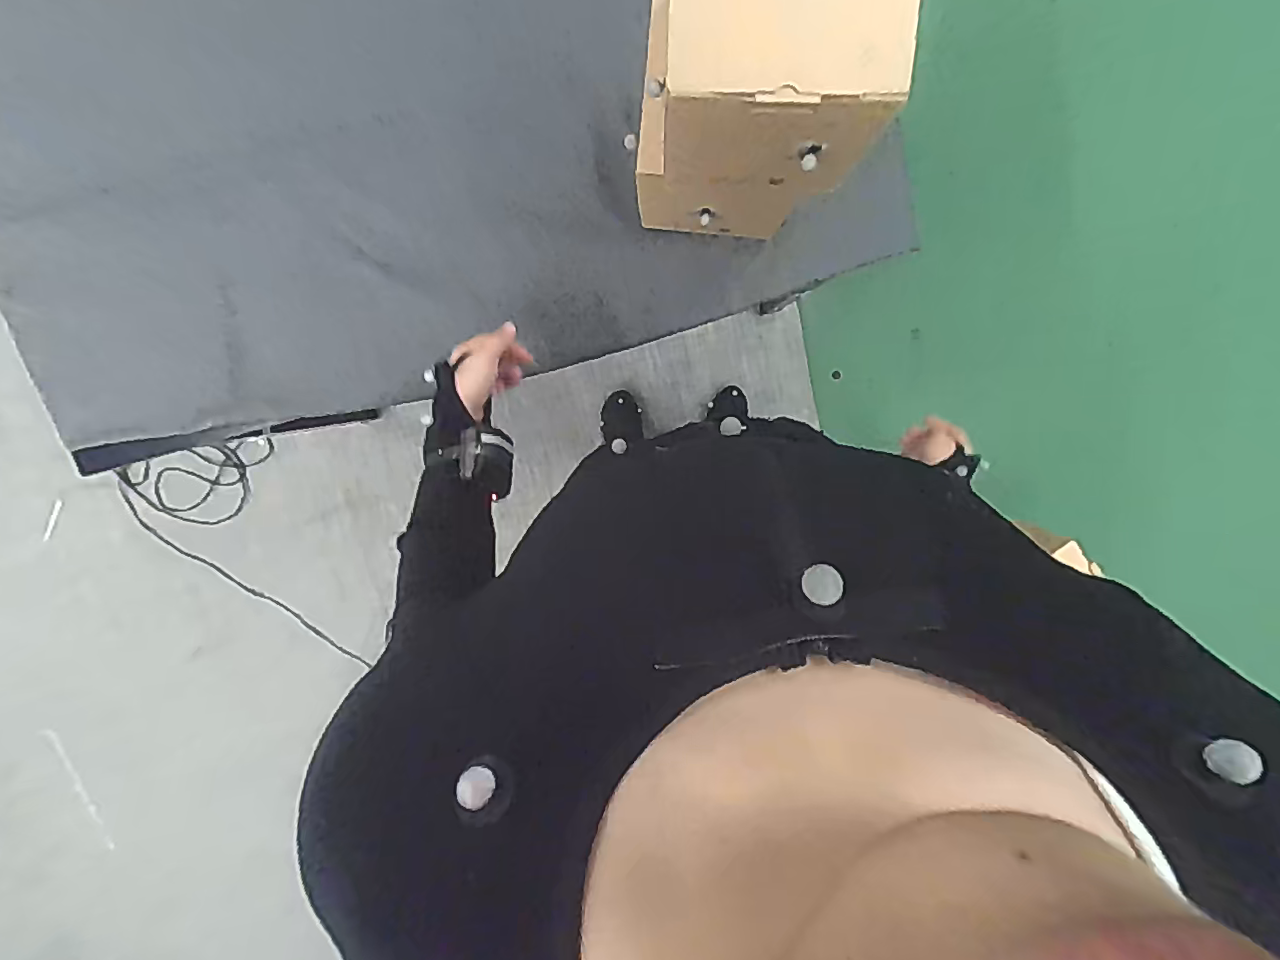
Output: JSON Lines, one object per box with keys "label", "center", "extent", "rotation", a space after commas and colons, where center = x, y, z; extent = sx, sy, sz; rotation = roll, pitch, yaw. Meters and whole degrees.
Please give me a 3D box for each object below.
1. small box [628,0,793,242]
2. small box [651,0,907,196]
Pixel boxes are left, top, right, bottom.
{"label": "small box", "center": [0.082, -0.374, 0.587], "extent": [0.168, 0.176, 0.179], "rotation": [6, 98, 1]}
{"label": "small box", "center": [0.095, -0.342, 0.427], "extent": [0.168, 0.176, 0.179], "rotation": [1, 98, 2]}
